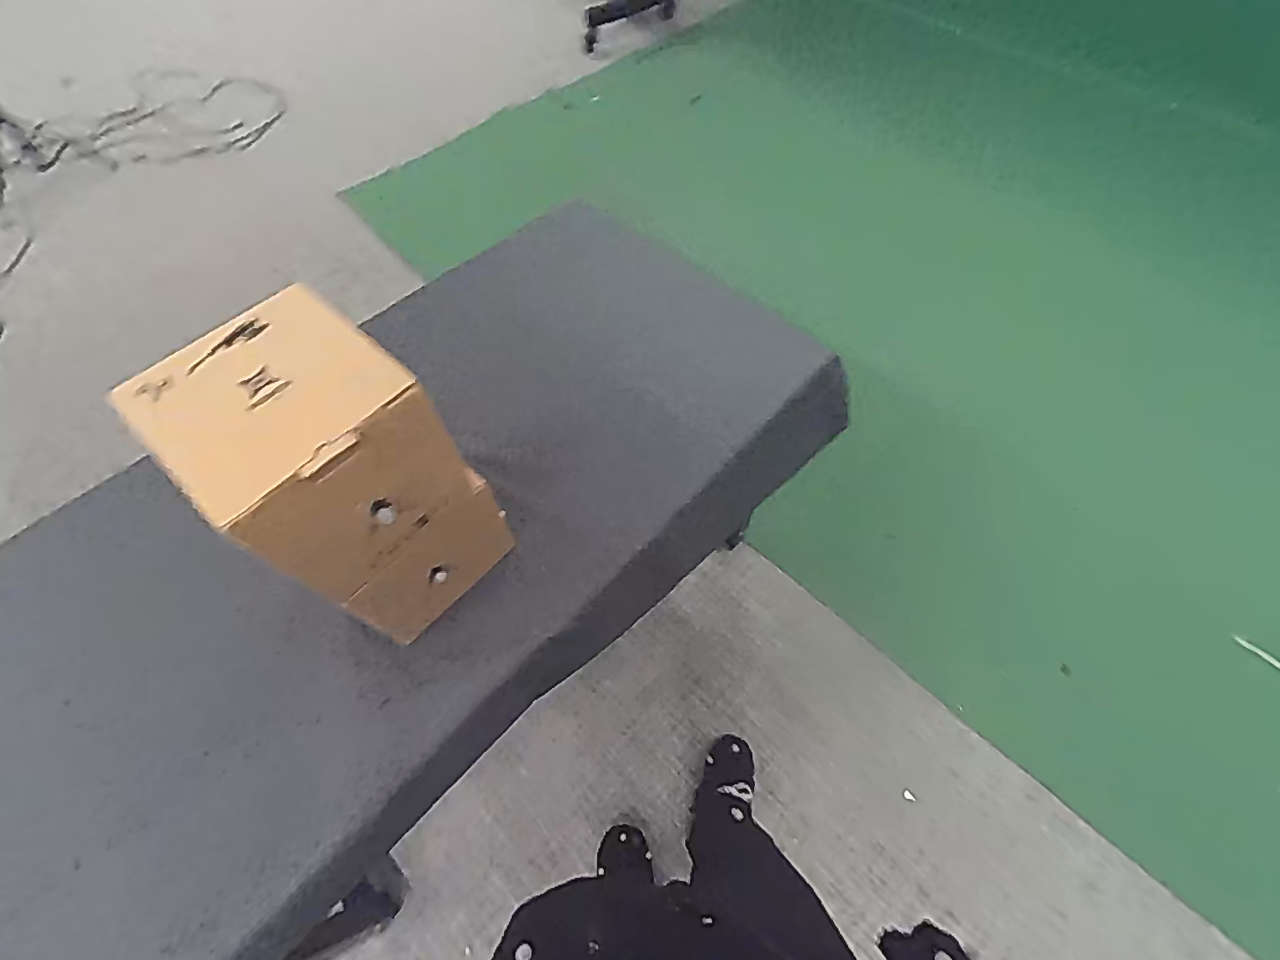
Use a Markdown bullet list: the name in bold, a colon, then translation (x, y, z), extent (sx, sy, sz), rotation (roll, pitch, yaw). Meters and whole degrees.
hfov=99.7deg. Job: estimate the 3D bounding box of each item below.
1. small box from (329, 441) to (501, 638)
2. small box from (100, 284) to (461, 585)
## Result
- **small box**: translation (-0.280, 0.050, 0.622), extent (0.168, 0.176, 0.179), rotation (35, 65, 17)
- **small box**: translation (-0.289, -0.028, 0.478), extent (0.179, 0.176, 0.168), rotation (38, 67, 18)
